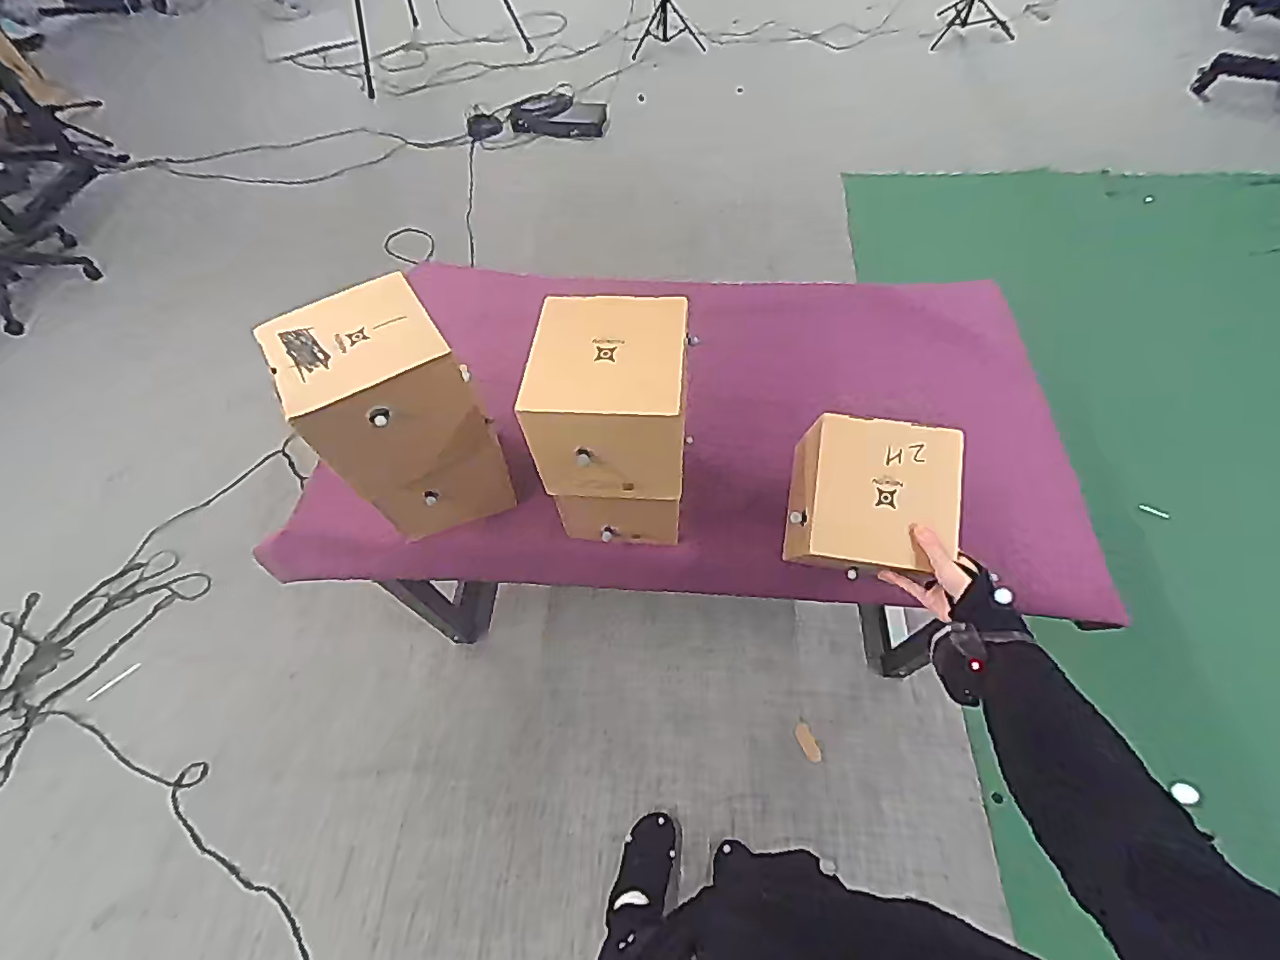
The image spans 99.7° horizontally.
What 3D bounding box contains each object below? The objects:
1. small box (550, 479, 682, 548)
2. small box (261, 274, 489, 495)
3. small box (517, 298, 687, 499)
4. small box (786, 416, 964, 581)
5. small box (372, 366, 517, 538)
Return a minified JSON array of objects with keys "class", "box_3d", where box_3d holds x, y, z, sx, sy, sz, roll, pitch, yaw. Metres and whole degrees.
[{"class":"small box","box_3d":[-0.023,-0.020,0.787,0.168,0.176,0.179,3,58,6]},{"class":"small box","box_3d":[-0.312,-0.111,0.661,0.179,0.176,0.168,-28,61,-16]},{"class":"small box","box_3d":[-0.030,-0.092,0.641,0.168,0.176,0.179,2,56,6]},{"class":"small box","box_3d":[0.294,0.033,0.710,0.168,0.176,0.179,9,80,6]},{"class":"small box","box_3d":[-0.303,-0.036,0.809,0.179,0.176,0.168,-18,59,-9]}]
